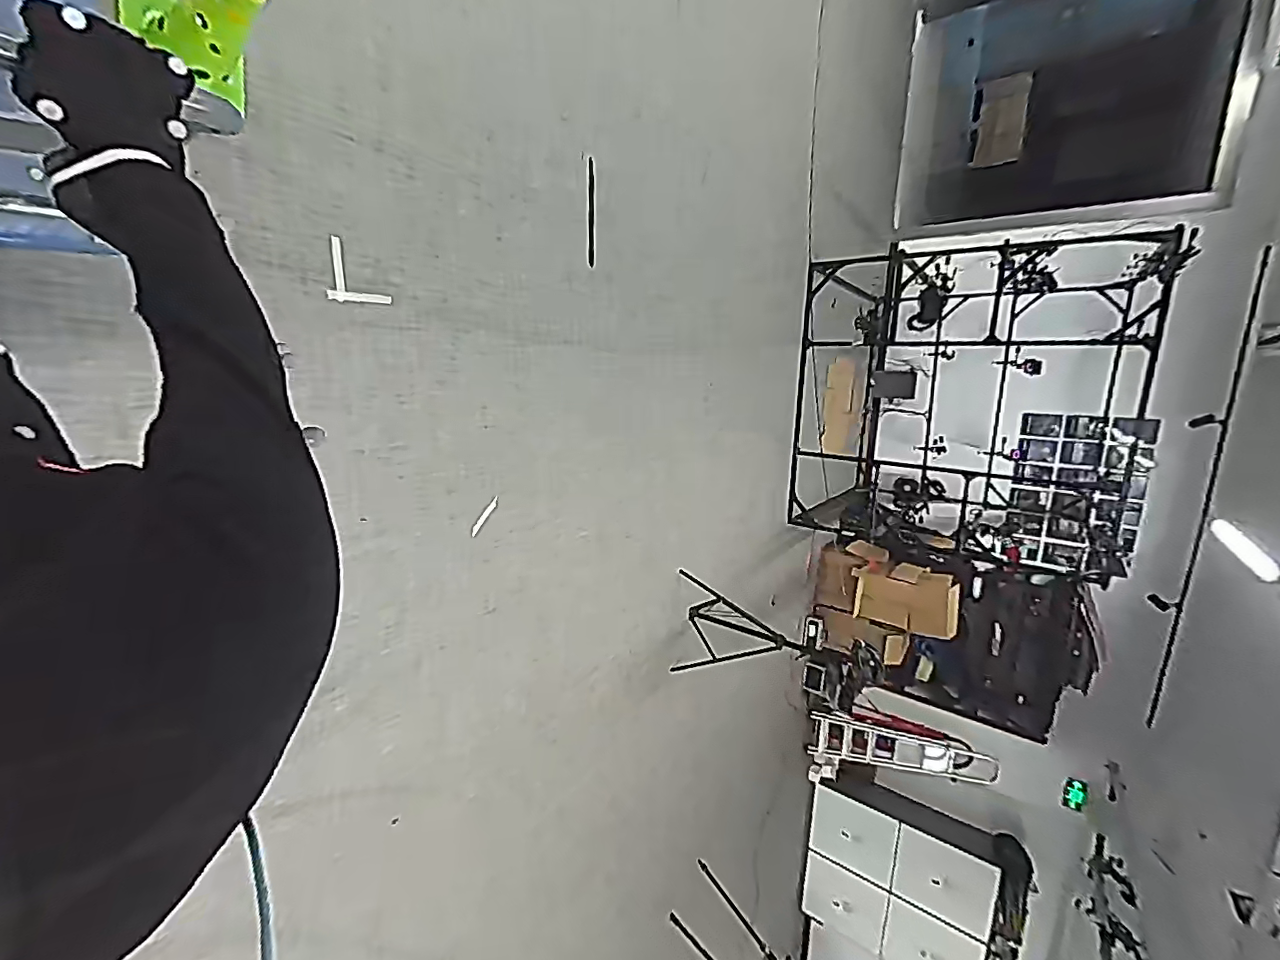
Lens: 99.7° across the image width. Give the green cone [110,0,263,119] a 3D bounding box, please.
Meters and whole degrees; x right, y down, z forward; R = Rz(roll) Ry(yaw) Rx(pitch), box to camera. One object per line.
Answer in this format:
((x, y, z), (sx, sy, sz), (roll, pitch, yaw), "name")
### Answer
((-0.797, -0.853, 1.002), (0.202, 0.368, 0.200), (-7, 104, -55), "green cone")
